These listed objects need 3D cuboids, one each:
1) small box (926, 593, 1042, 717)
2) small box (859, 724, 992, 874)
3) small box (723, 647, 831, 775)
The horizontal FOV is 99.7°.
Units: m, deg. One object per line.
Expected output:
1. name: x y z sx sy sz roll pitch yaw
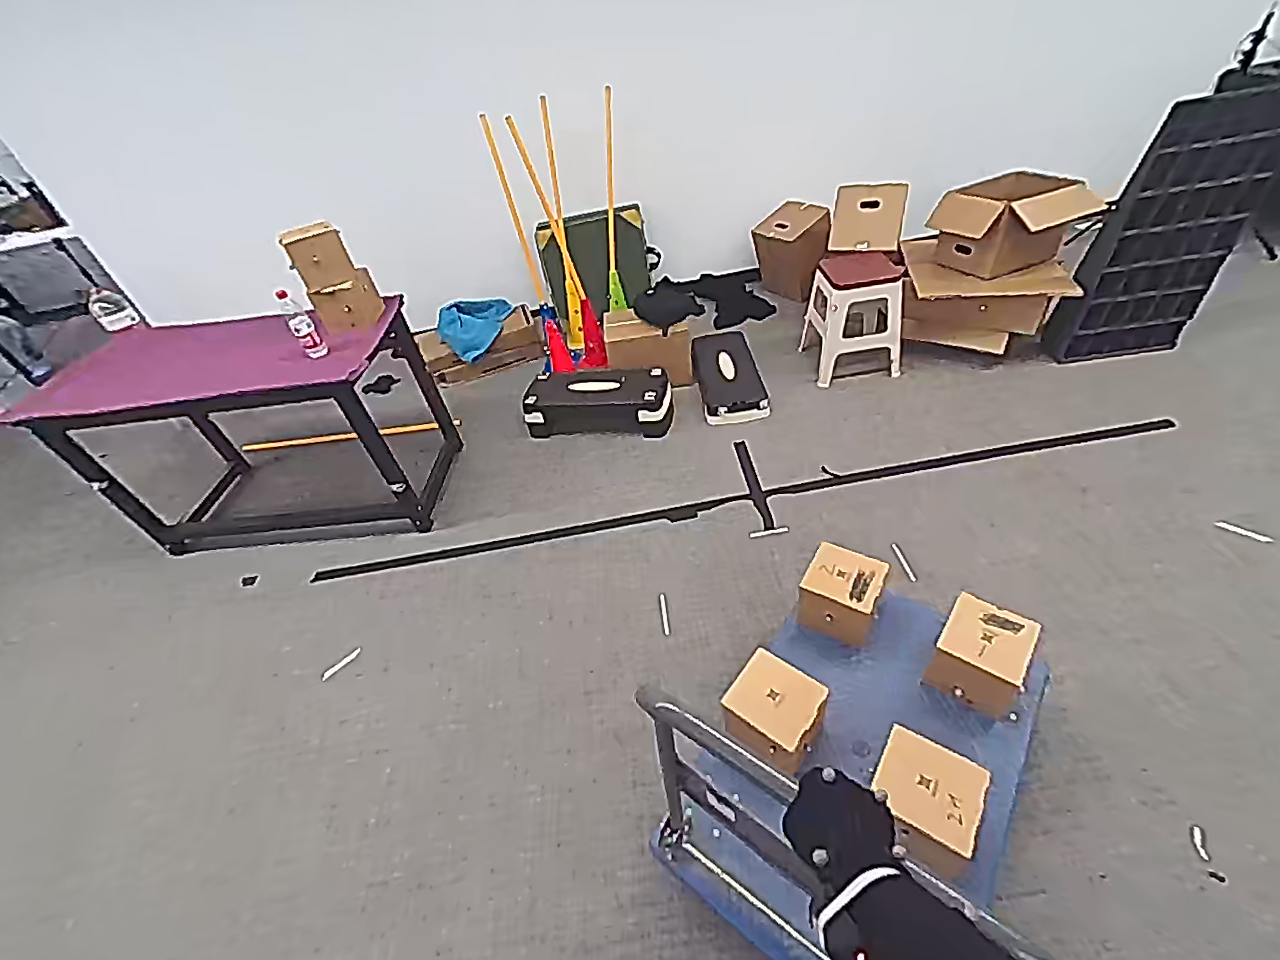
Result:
1. small box: 0.780 0.401 1.241 0.168 0.176 0.179 25 54 33
2. small box: 0.545 0.621 1.051 0.179 0.176 0.168 21 51 31
3. small box: 0.302 0.520 1.213 0.179 0.176 0.168 27 54 32
